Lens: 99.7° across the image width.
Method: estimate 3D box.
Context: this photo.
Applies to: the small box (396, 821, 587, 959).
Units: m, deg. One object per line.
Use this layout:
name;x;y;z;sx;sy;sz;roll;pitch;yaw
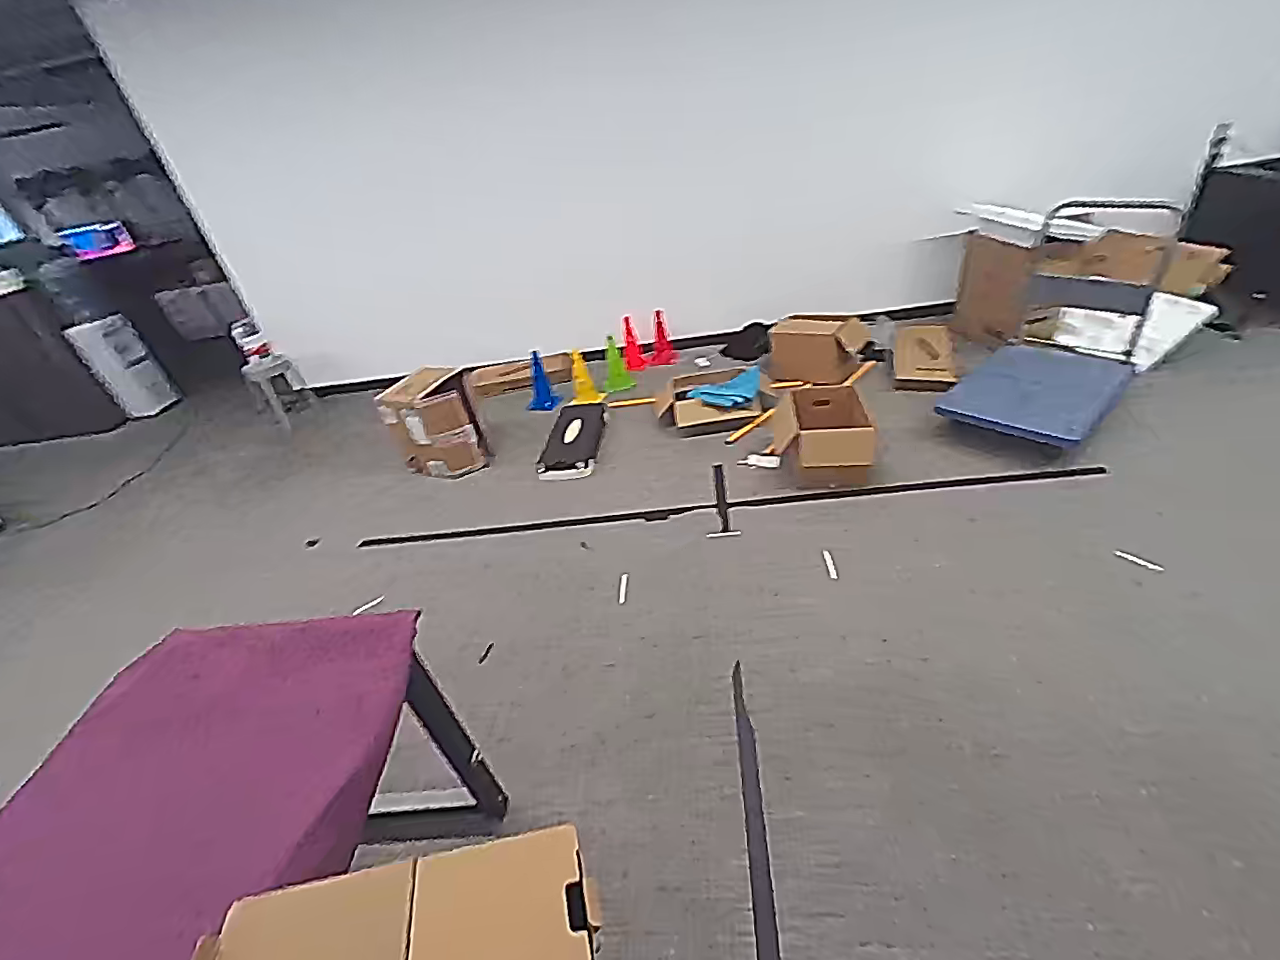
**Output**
small box;-0.148;0.501;0.566;0.179;0.176;0.168;-4;33;-14
